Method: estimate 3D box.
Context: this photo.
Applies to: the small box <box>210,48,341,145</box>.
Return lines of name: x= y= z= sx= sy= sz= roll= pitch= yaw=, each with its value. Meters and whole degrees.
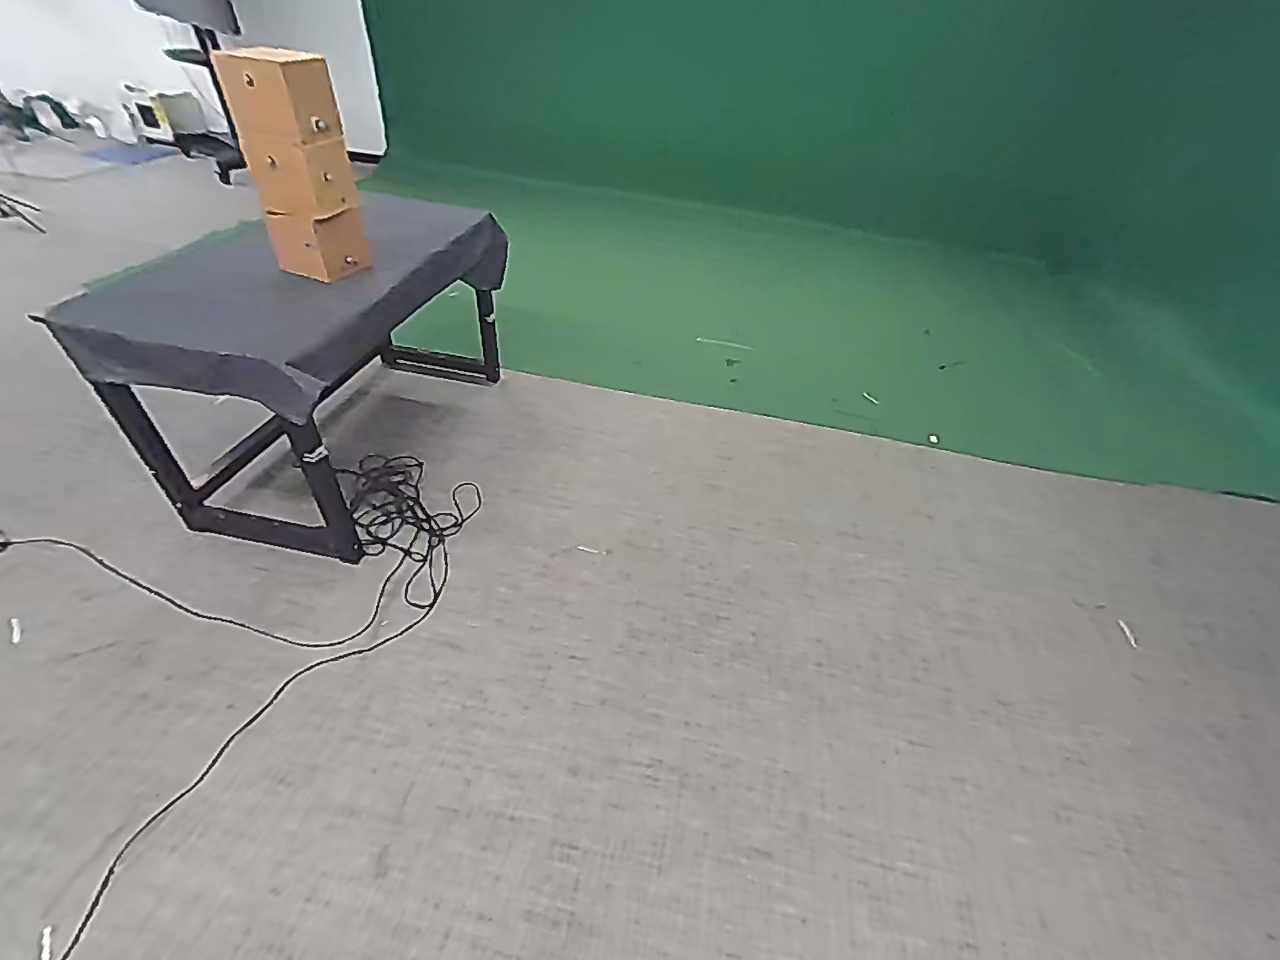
small box: x=-0.866 y=-0.923 z=1.304 sx=0.179 sy=0.176 sz=0.168 roll=12 pitch=43 yaw=4

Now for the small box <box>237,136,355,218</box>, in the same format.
small box: x=-0.879 y=-0.798 z=1.407 sx=0.179 sy=0.176 sz=0.168 roll=12 pitch=42 yaw=6
